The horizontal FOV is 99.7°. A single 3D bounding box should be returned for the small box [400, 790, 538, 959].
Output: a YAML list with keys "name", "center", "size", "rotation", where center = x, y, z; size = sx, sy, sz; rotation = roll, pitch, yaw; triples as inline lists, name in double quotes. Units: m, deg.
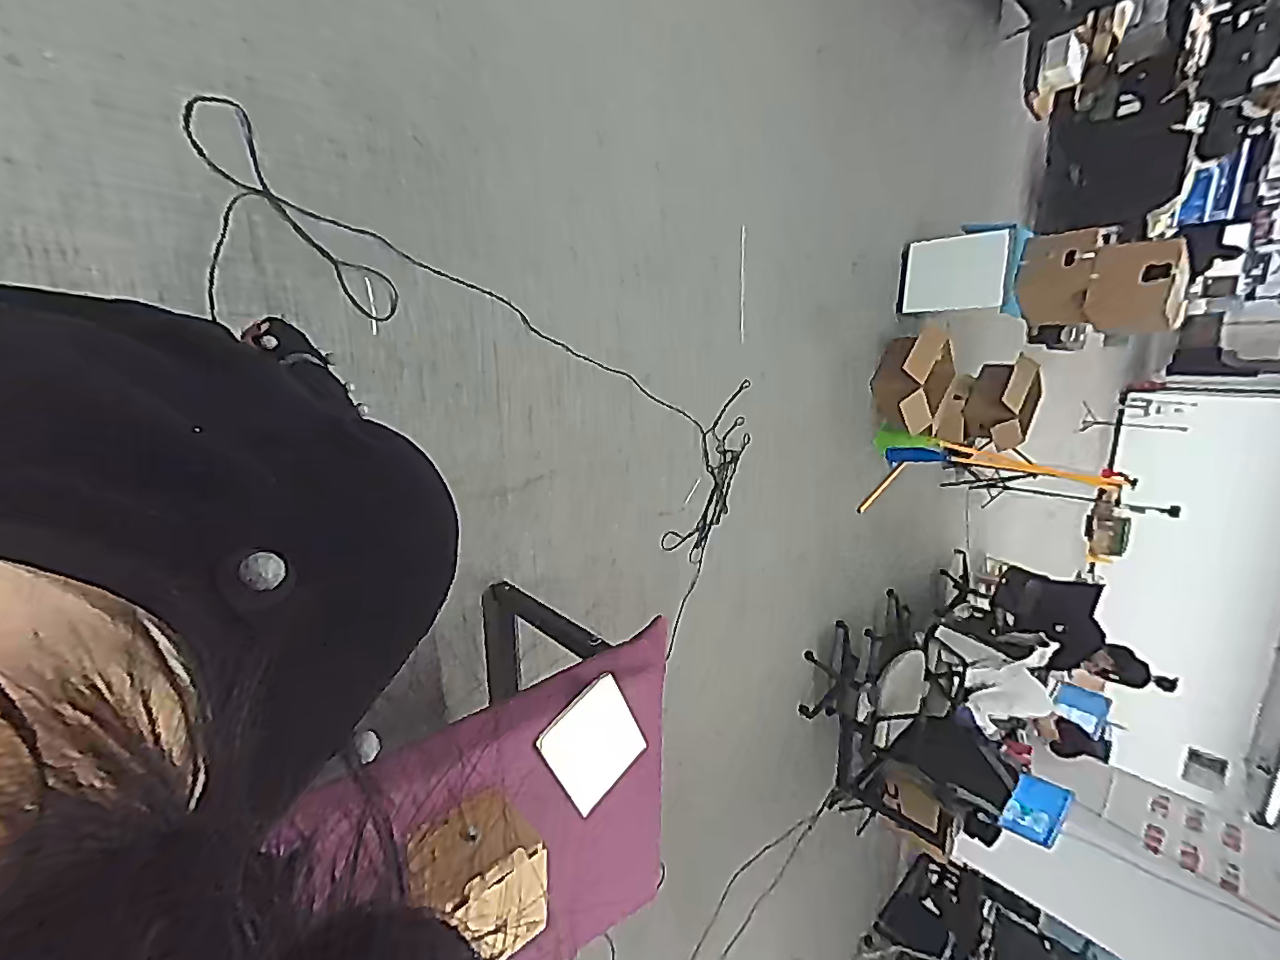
- name: "small box"
  center: [-0.287, 0.659, 0.903]
  size: [0.168, 0.176, 0.179]
  rotation: [-10, 106, -41]
